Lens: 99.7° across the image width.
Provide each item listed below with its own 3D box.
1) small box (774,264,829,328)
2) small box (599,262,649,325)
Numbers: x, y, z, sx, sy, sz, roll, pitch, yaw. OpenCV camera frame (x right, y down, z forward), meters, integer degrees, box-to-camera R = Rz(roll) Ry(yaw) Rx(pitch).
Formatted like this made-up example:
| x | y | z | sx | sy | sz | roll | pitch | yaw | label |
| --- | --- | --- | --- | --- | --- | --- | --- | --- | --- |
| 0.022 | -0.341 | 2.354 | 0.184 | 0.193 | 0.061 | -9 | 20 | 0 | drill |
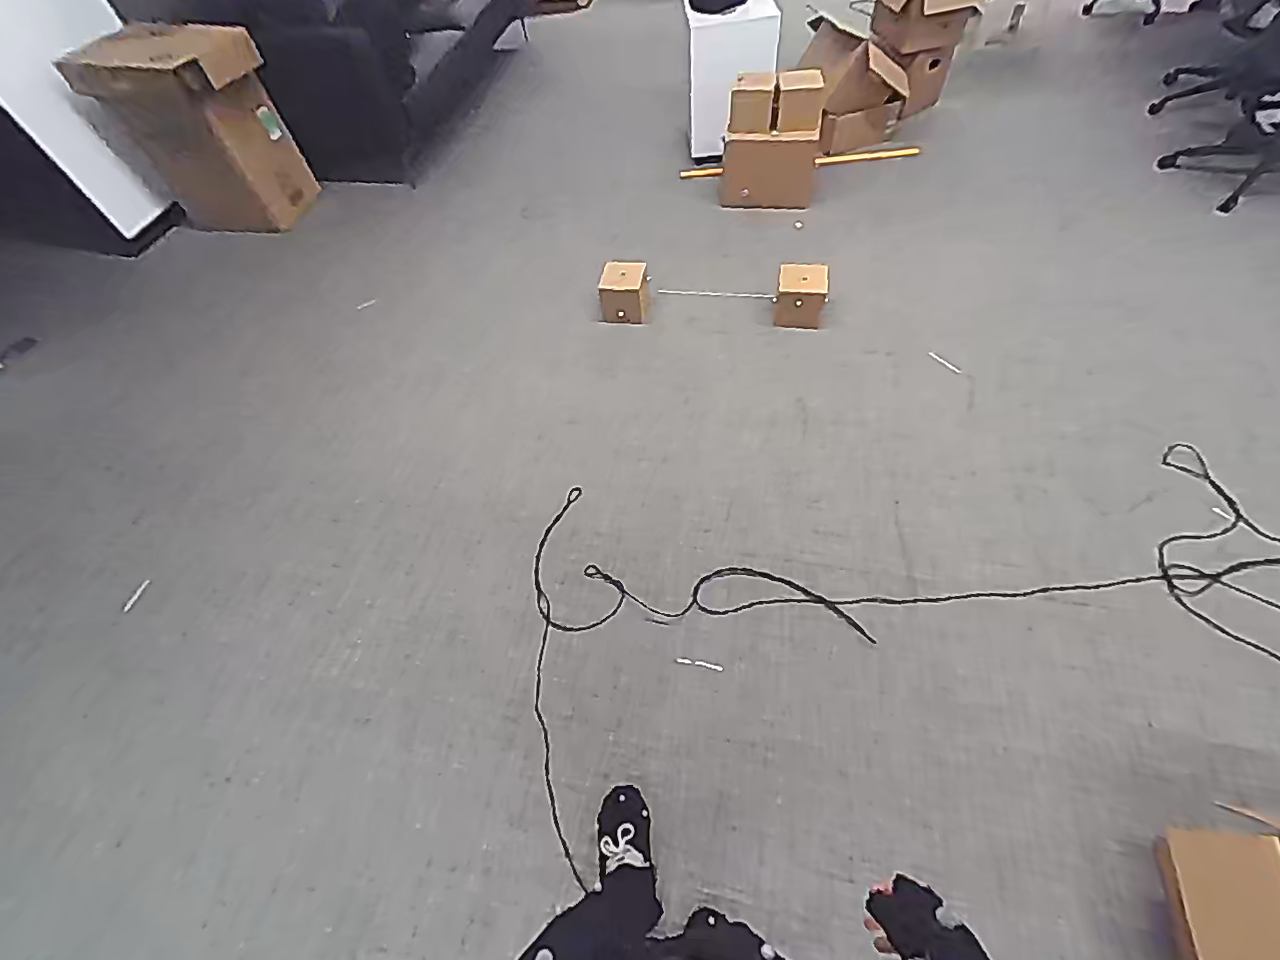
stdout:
| x | y | z | sx | sy | sz | roll | pitch | yaw | label |
| --- | --- | --- | --- | --- | --- | --- | --- | --- | --- |
| 0.615 | -0.698 | 2.062 | 0.179 | 0.176 | 0.168 | 5 | 57 | 11 | small box |
| -0.059 | -0.752 | 2.175 | 0.168 | 0.176 | 0.179 | 5 | 57 | 10 | small box |
